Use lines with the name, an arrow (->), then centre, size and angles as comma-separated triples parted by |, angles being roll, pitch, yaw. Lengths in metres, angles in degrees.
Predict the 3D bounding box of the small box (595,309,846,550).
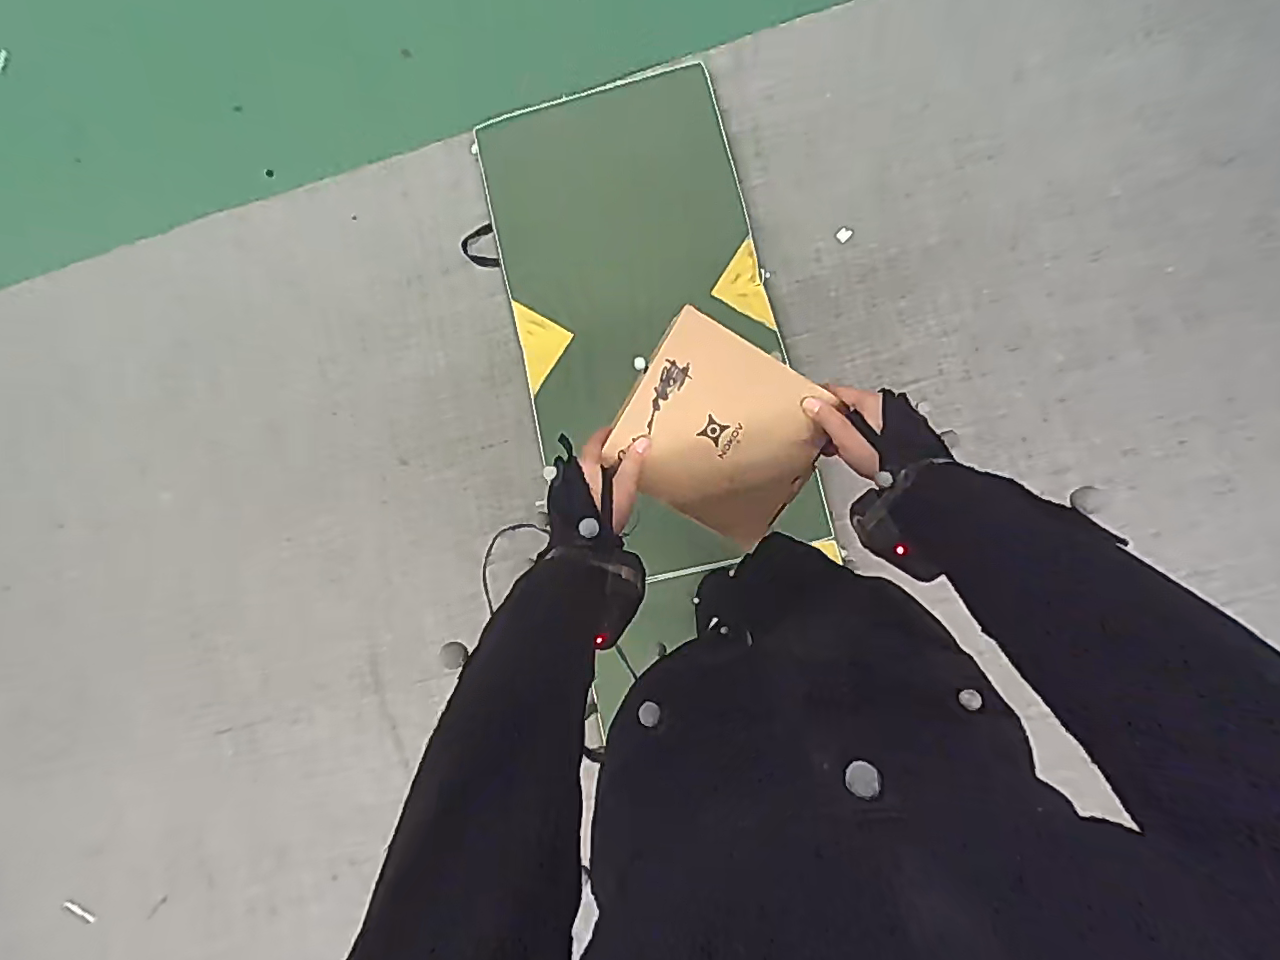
small box -> 0.073, -0.061, 0.569 | 0.179, 0.176, 0.168 | 30, 102, -7
